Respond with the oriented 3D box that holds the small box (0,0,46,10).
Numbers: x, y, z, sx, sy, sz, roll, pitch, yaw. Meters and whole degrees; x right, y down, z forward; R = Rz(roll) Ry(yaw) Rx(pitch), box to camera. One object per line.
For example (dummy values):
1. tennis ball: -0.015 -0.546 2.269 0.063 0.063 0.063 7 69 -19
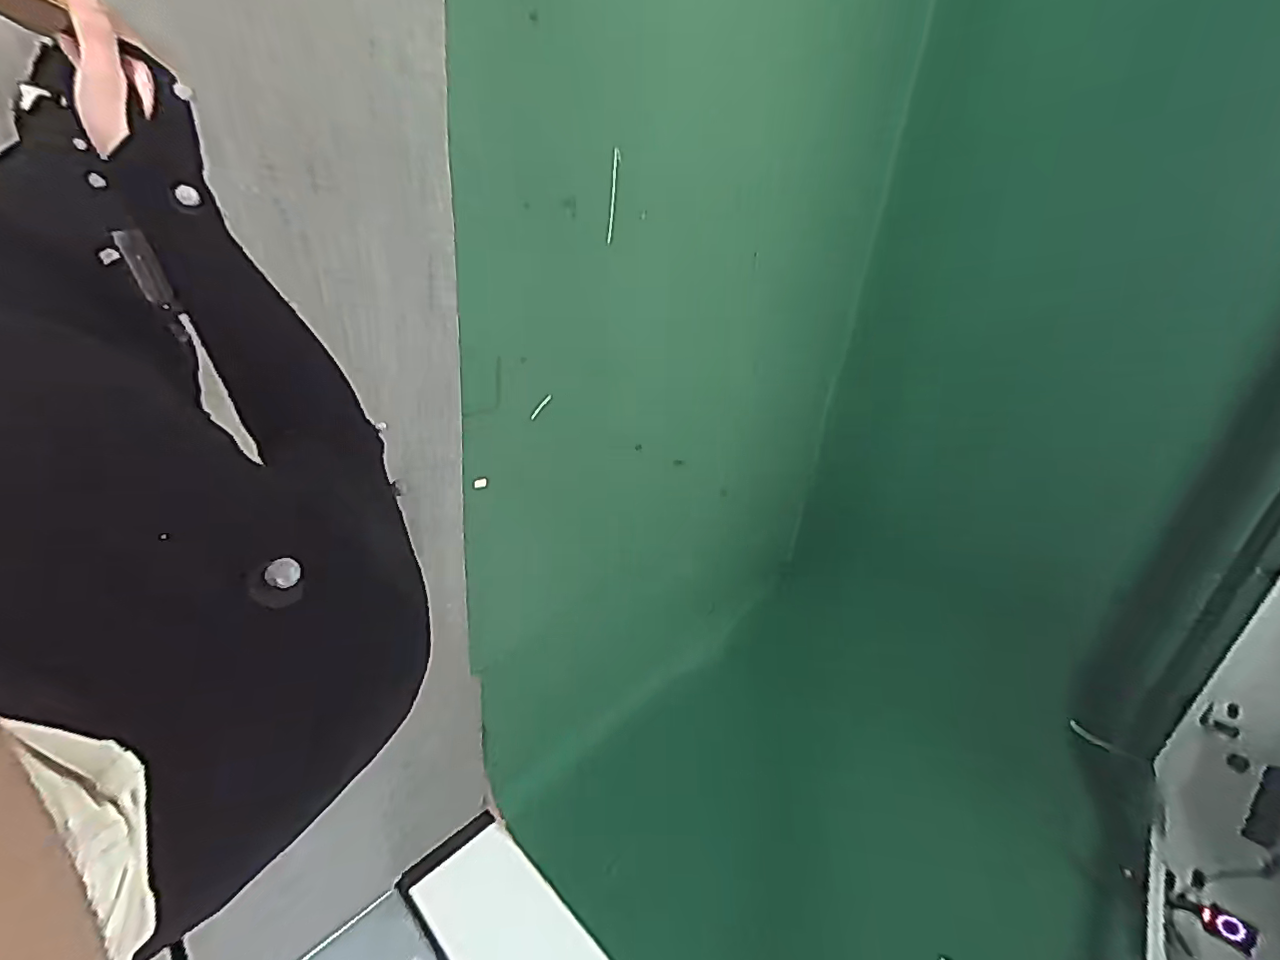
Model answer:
1. small box: -0.468 -0.446 0.335 0.168 0.176 0.179 8 104 -55
